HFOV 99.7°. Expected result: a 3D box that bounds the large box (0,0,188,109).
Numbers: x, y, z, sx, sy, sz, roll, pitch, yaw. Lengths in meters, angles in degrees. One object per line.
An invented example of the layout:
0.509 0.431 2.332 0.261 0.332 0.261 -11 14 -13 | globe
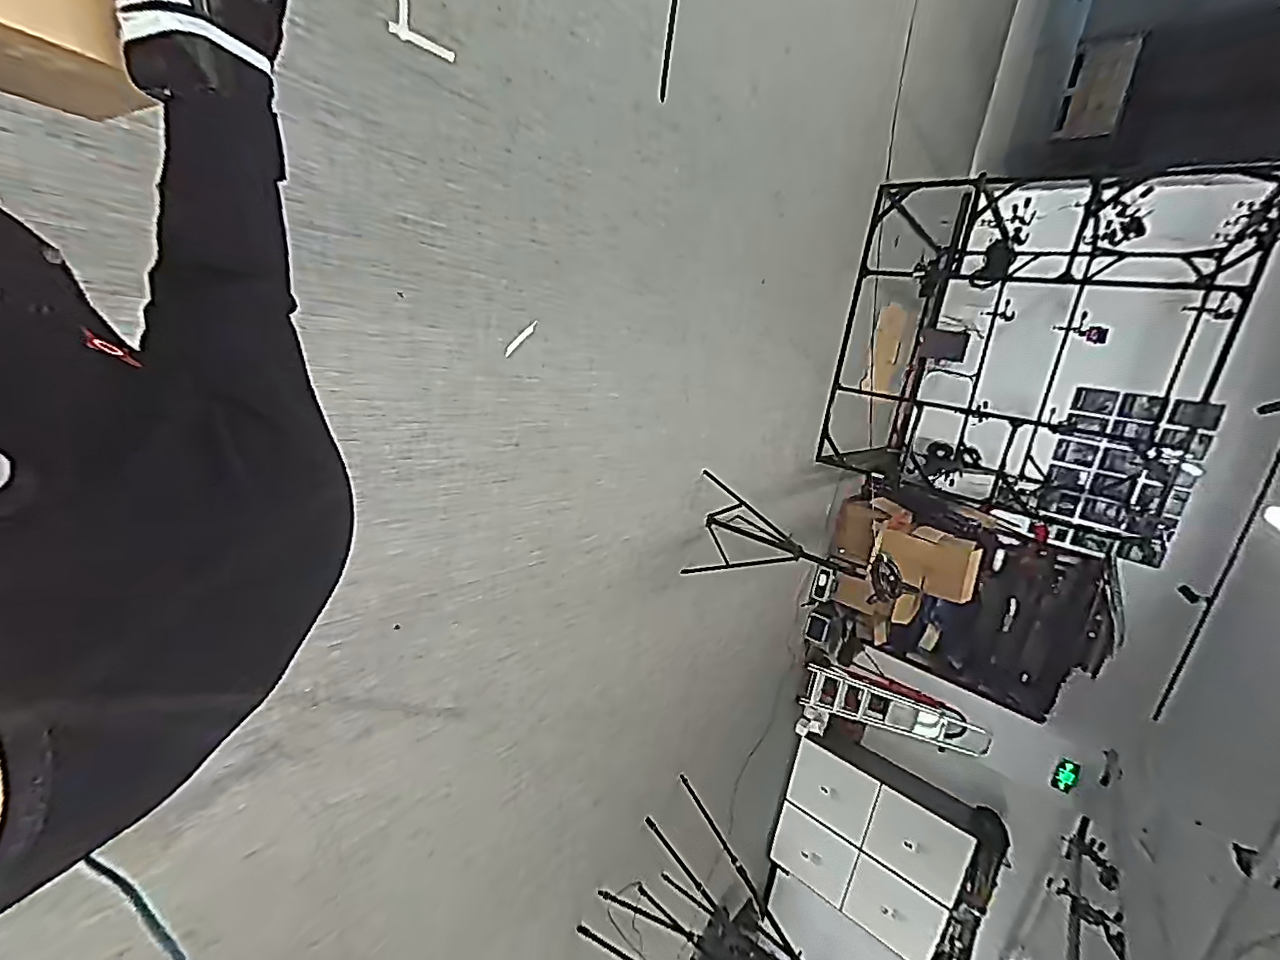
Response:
-0.542 -0.461 0.284 0.408 0.320 0.320 -8 115 -53 | large box
